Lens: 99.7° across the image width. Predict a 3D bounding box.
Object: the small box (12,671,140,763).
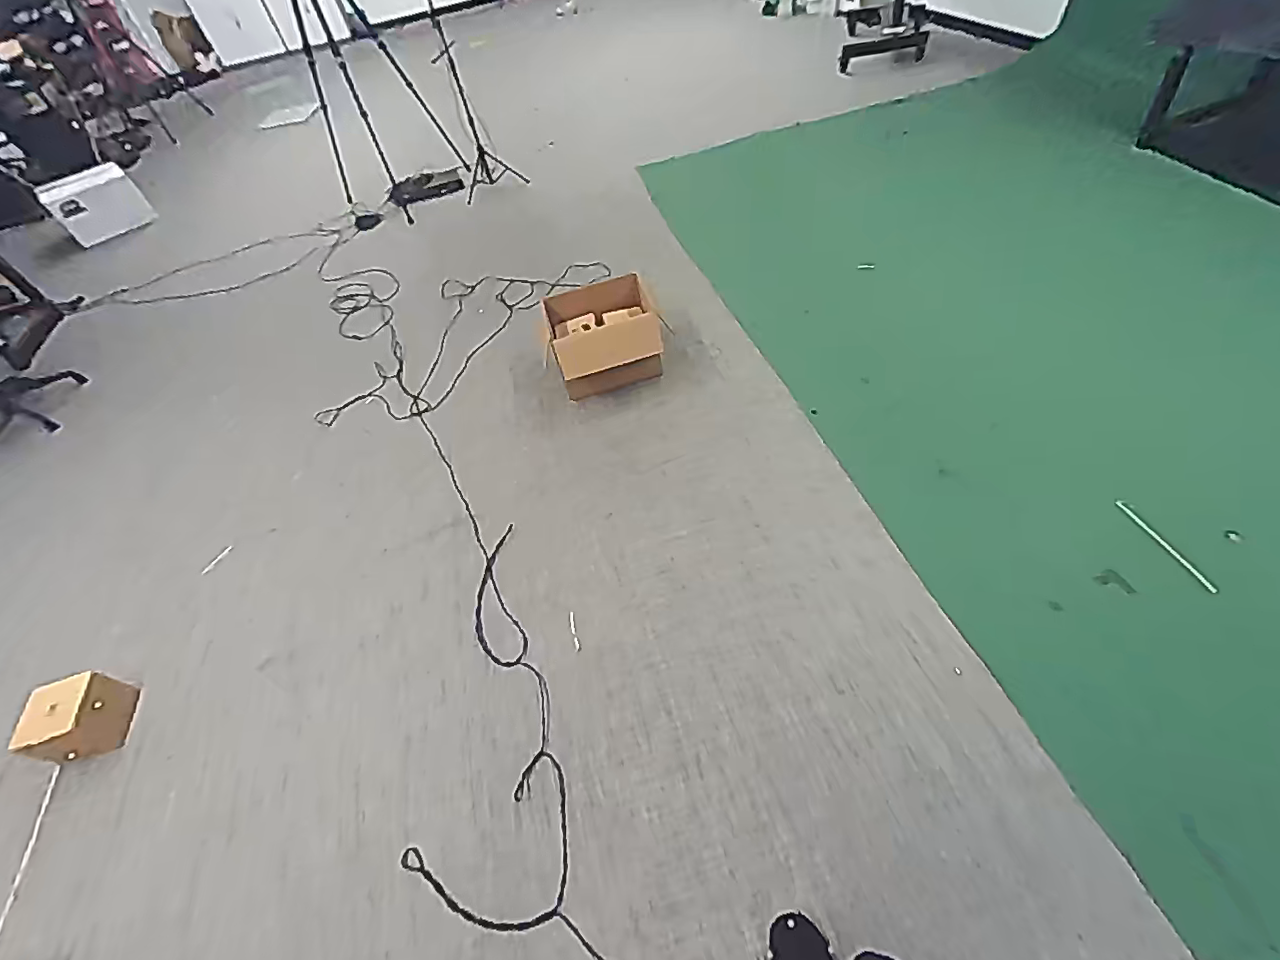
[{"bbox_3d":[-1.596,0.680,1.547,0.168,0.176,0.179,-18,51,-5],"label":"small box"}]
